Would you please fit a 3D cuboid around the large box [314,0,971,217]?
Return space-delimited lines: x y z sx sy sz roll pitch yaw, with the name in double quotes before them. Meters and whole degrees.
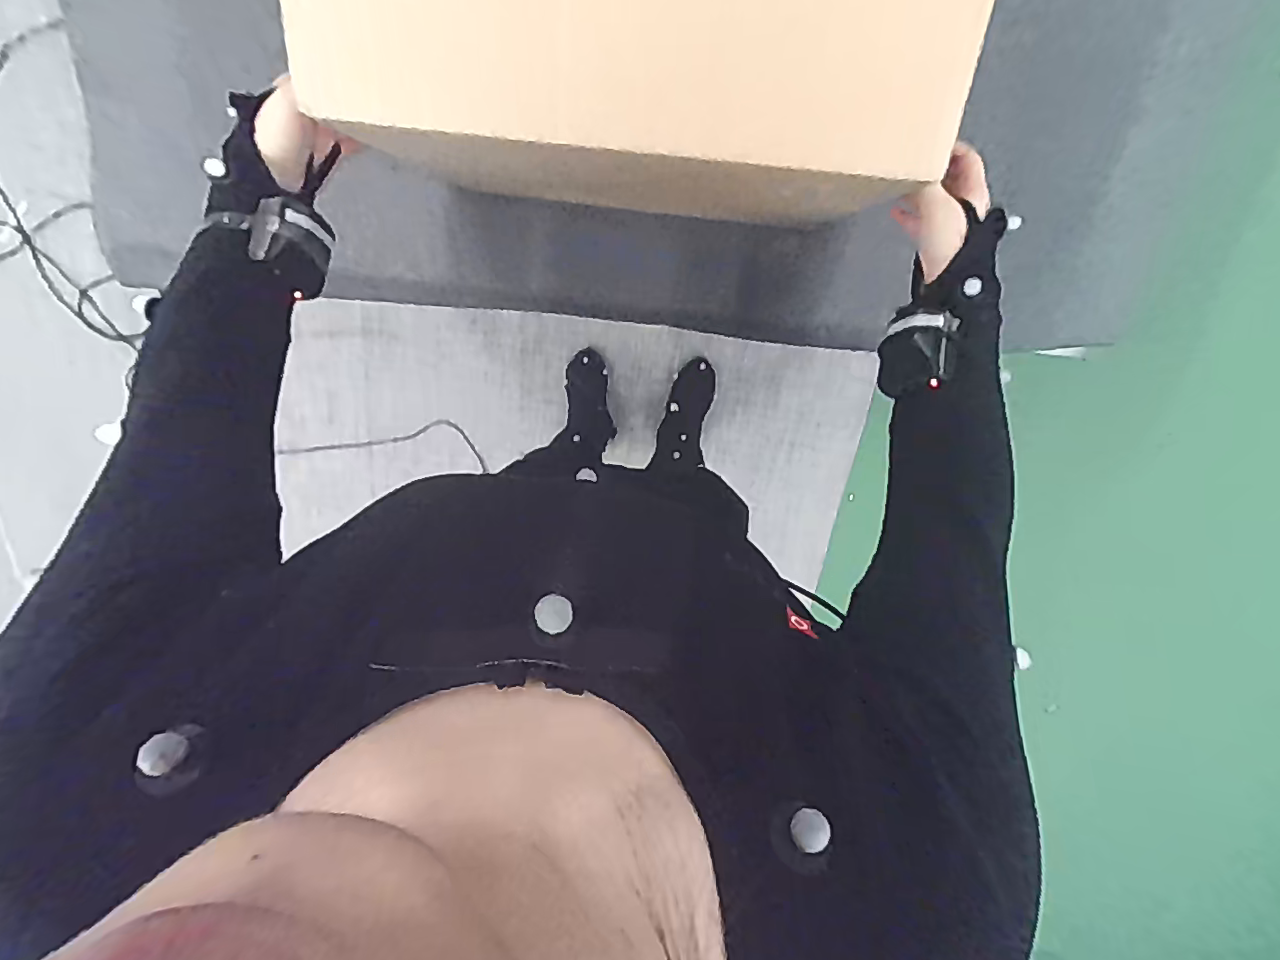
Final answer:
"large box" 0.009 -0.413 0.439 0.408 0.320 0.320 6 111 0
